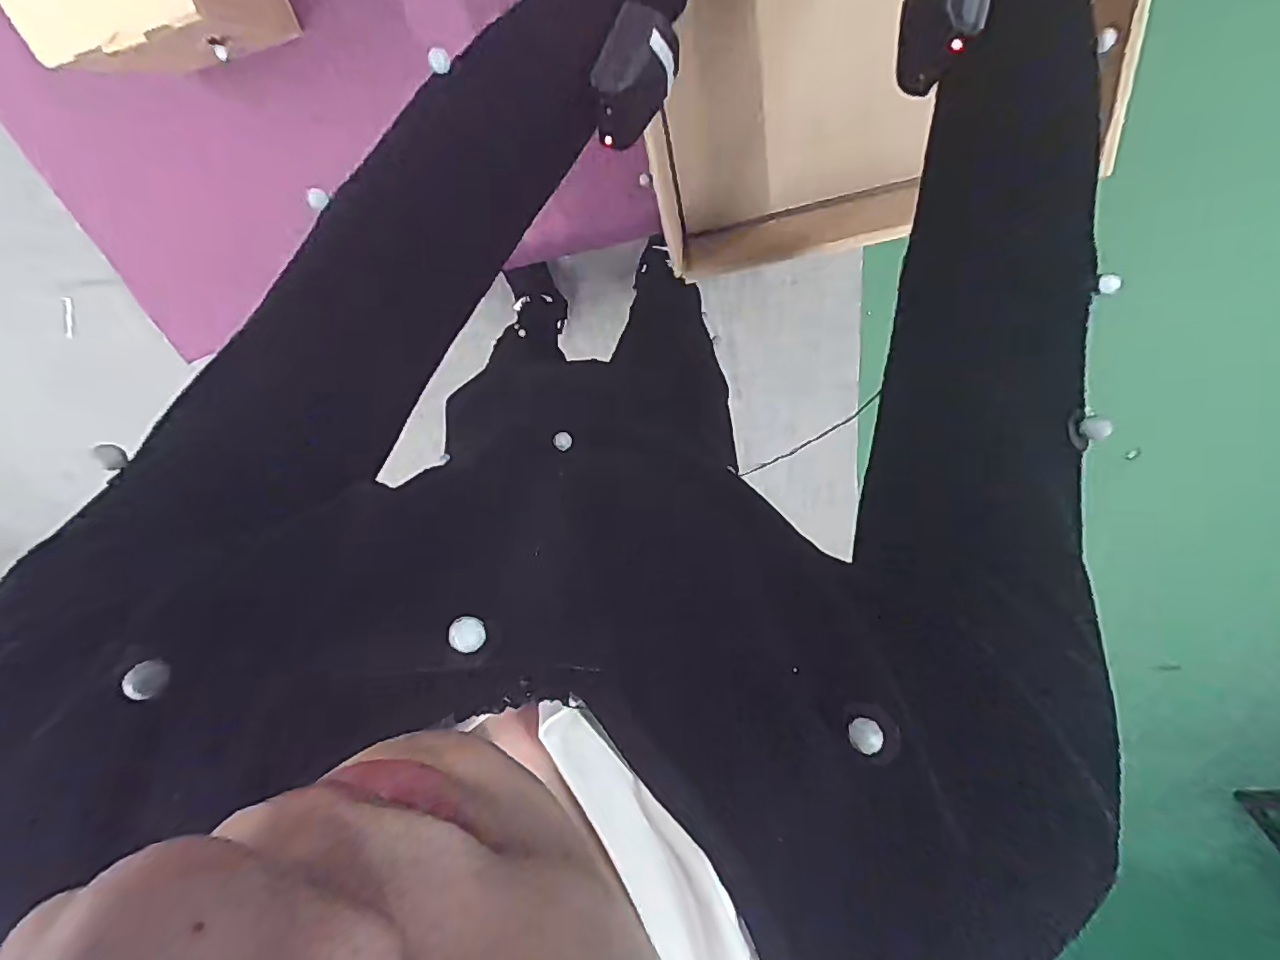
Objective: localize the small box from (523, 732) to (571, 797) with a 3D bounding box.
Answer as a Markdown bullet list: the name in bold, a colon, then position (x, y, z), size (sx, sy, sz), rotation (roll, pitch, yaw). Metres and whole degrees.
- **small box**: position (-0.378, 1.167, 2.218), size (0.168, 0.176, 0.179), rotation (8, 124, -3)

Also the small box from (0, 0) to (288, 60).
- **small box**: position (-0.469, -0.502, 0.484), size (0.168, 0.176, 0.179), rotation (-9, 125, 8)
